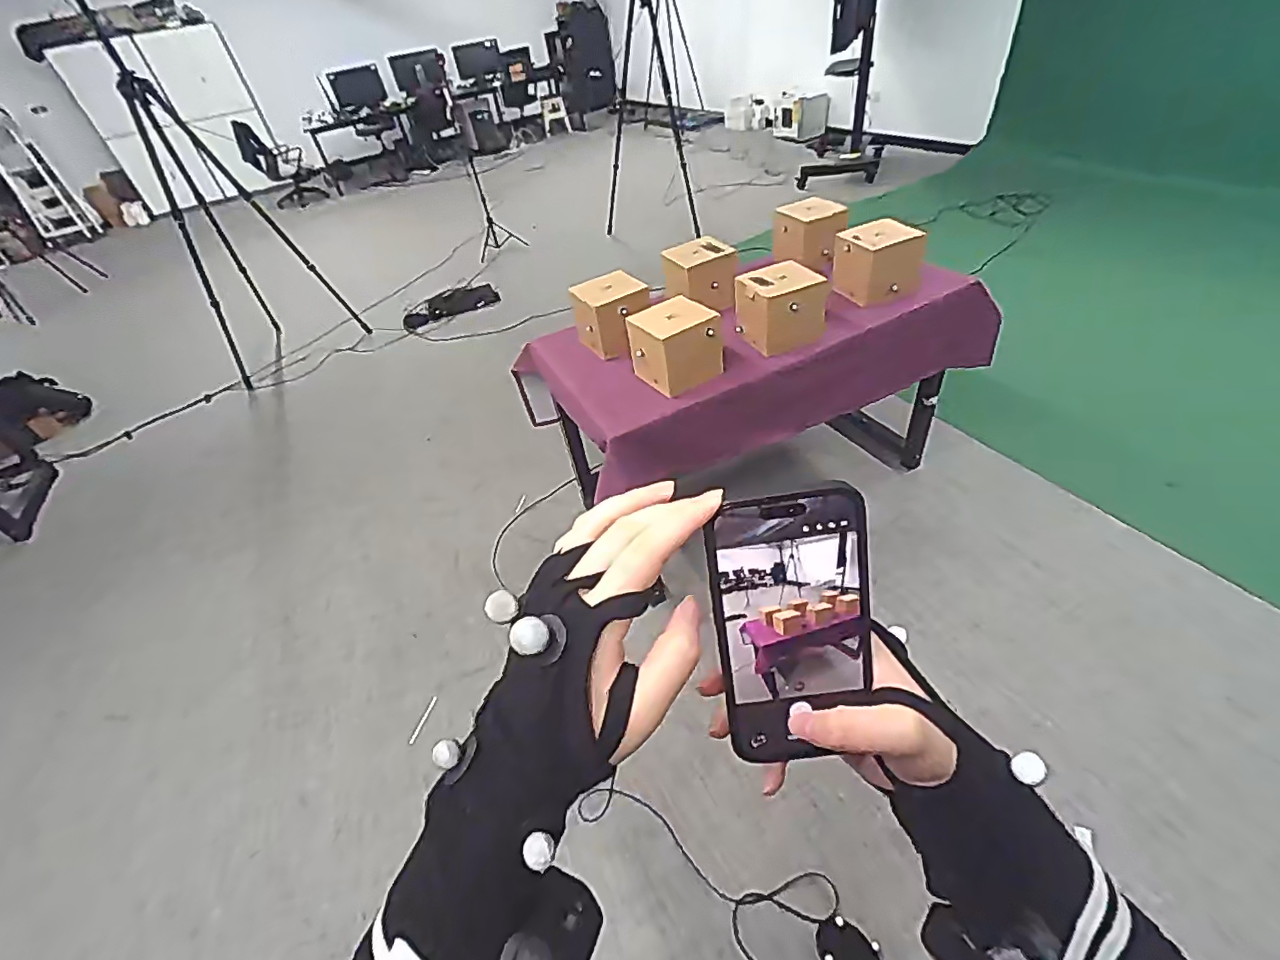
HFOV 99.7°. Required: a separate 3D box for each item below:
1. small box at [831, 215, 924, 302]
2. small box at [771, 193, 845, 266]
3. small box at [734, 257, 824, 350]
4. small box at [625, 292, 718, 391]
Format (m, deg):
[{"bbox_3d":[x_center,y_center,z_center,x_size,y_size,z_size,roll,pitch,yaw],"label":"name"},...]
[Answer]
[{"bbox_3d":[0.677,-0.641,1.565,0.179,0.176,0.168,-20,43,-10],"label":"small box"},{"bbox_3d":[0.547,-0.824,1.786,0.168,0.176,0.179,-23,45,-12],"label":"small box"},{"bbox_3d":[0.368,-0.471,1.449,0.179,0.176,0.168,-20,43,-11],"label":"small box"},{"bbox_3d":[0.087,-0.351,1.380,0.179,0.176,0.168,-28,45,-20],"label":"small box"}]
